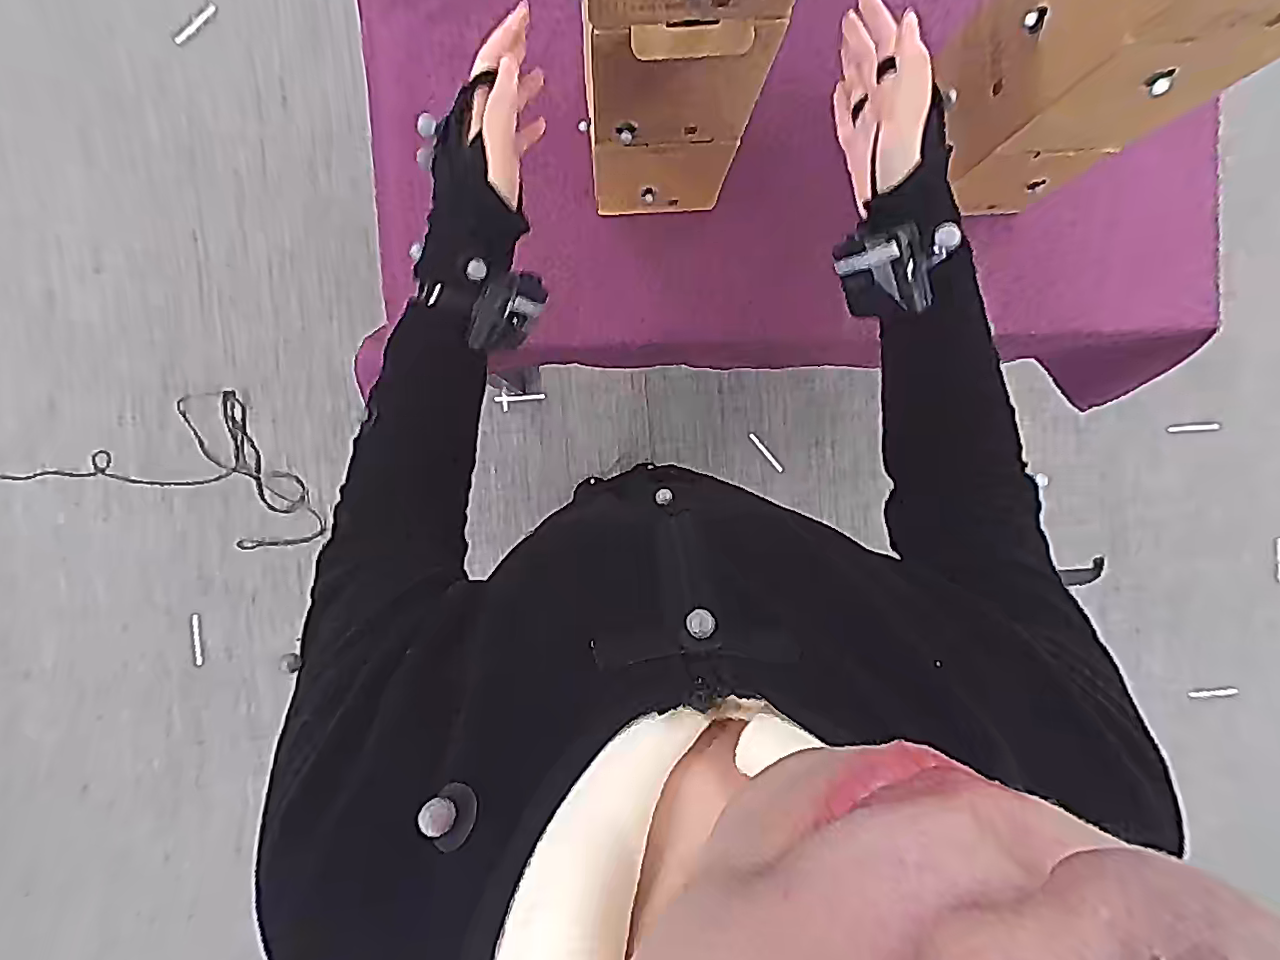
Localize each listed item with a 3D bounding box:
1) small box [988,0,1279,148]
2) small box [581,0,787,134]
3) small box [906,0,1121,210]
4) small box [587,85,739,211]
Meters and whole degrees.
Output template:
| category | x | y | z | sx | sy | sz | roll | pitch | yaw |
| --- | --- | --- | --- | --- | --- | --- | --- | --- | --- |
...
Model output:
| category | x | y | z | sx | sy | sz | roll | pitch | yaw |
| --- | --- | --- | --- | --- | --- | --- | --- | --- | --- |
| small box | 0.477 | -0.458 | 0.536 | 0.179 | 0.176 | 0.168 | -5 | 94 | -4 |
| small box | 0.028 | -0.457 | 0.512 | 0.168 | 0.176 | 0.179 | -6 | 93 | -4 |
| small box | 0.468 | -0.468 | 0.699 | 0.168 | 0.176 | 0.179 | -4 | 92 | -3 |
| small box | 0.019 | -0.464 | 0.675 | 0.168 | 0.176 | 0.179 | -5 | 94 | -3 |
